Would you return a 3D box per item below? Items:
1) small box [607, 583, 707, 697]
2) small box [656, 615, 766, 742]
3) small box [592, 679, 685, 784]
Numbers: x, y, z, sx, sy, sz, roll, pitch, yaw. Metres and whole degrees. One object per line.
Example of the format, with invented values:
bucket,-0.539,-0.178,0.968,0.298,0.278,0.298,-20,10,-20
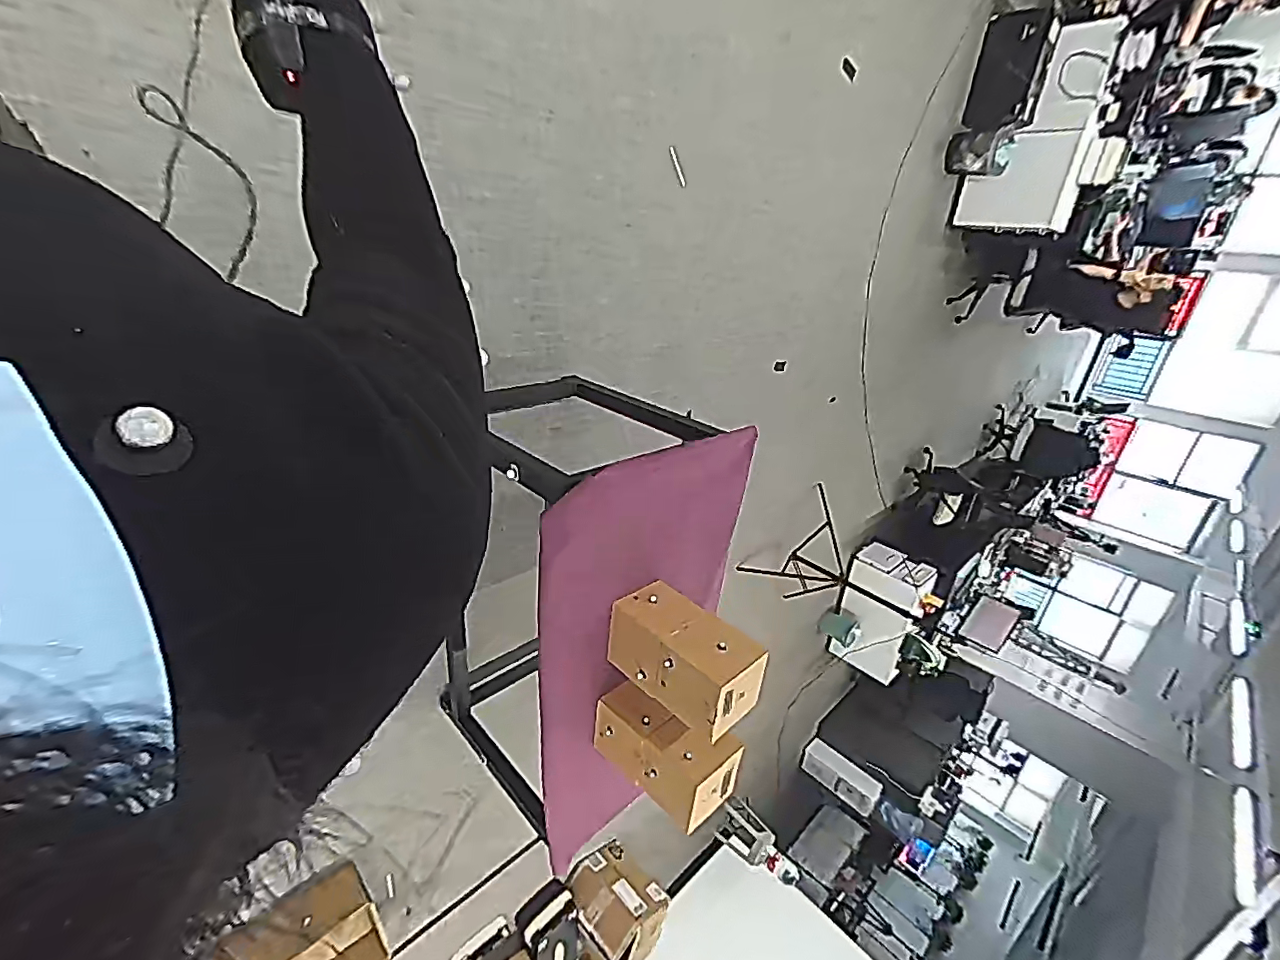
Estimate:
small box,0.036,0.382,1.320,0.168,0.176,0.179,-16,122,-42
small box,0.155,0.439,1.221,0.179,0.176,0.168,-19,124,-42
small box,-0.002,0.641,1.424,0.179,0.176,0.168,-17,122,-42
